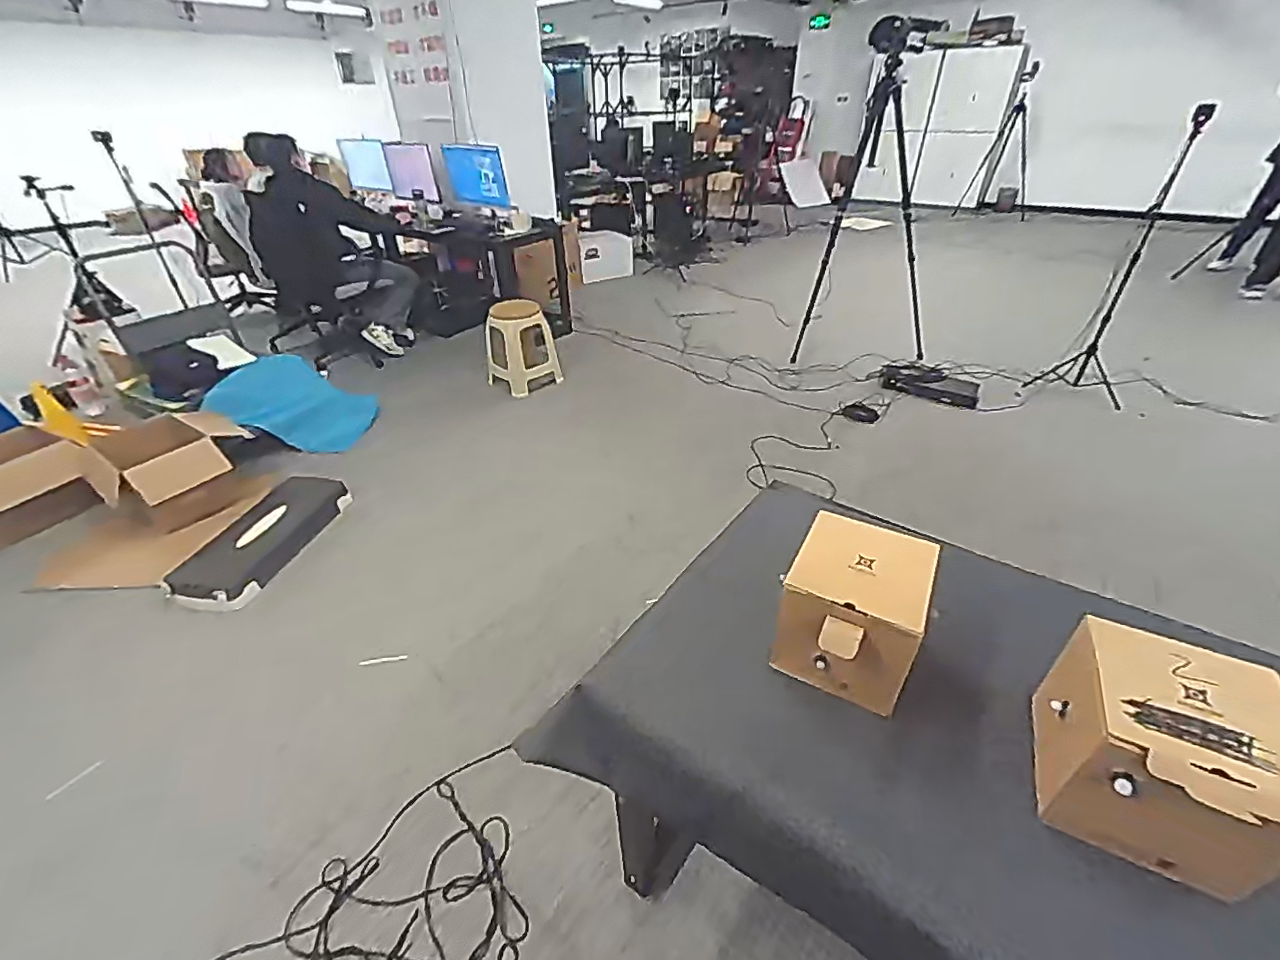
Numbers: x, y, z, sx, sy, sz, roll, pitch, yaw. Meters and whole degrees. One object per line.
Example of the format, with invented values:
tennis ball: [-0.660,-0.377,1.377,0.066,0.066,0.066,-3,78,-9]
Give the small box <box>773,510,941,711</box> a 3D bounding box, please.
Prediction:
small box: [0.294,0.175,0.748,0.168,0.176,0.179,18,39,25]
